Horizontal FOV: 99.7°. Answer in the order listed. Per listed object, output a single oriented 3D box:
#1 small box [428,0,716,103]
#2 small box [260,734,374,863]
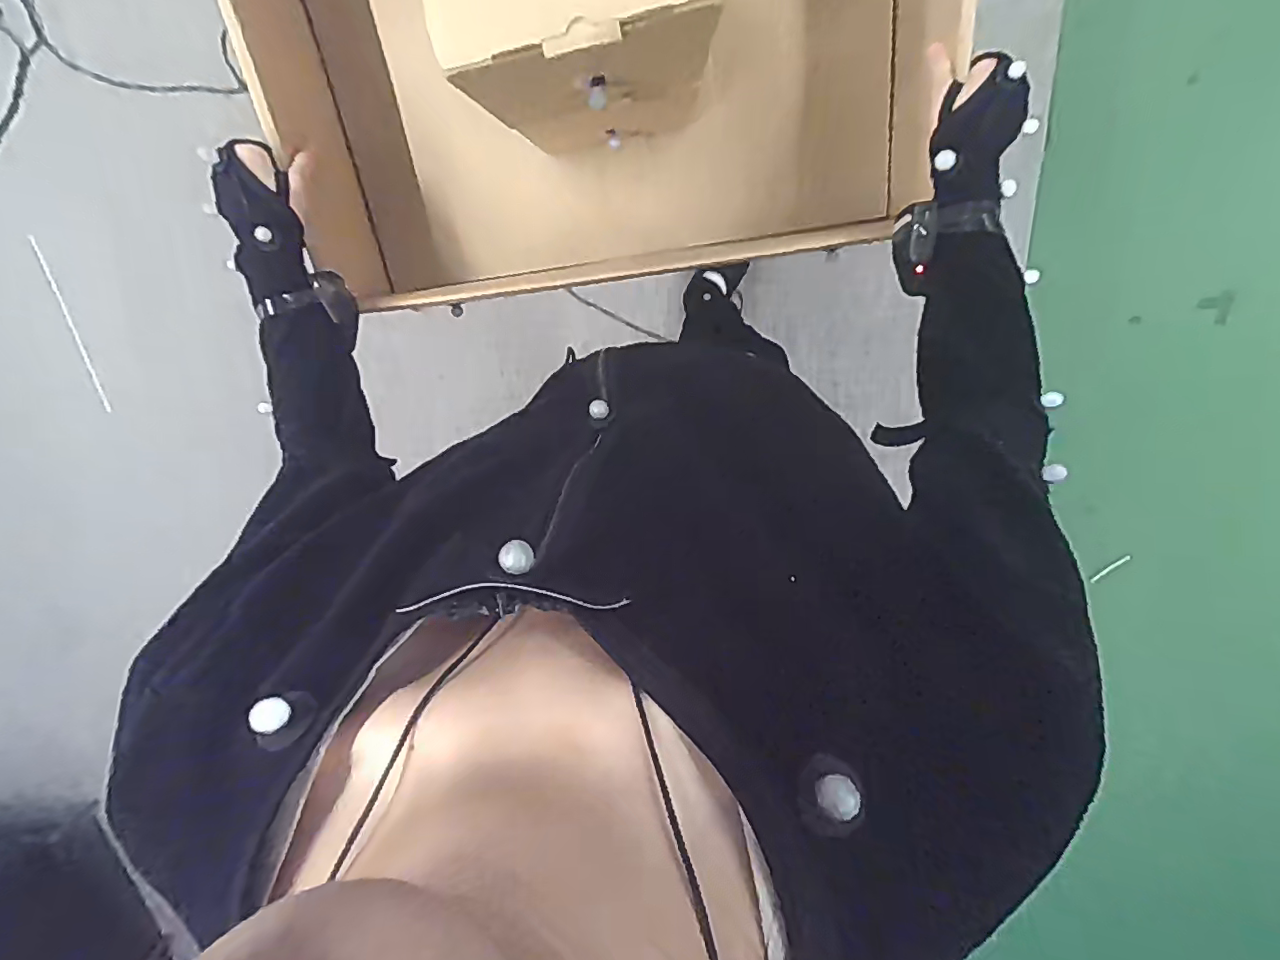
[{"bbox_3d":[-0.044,-0.358,0.333,0.168,0.176,0.179,-10,113,5],"label":"small box"},{"bbox_3d":[-0.740,0.731,1.252,0.168,0.176,0.179,14,109,-1],"label":"small box"}]
